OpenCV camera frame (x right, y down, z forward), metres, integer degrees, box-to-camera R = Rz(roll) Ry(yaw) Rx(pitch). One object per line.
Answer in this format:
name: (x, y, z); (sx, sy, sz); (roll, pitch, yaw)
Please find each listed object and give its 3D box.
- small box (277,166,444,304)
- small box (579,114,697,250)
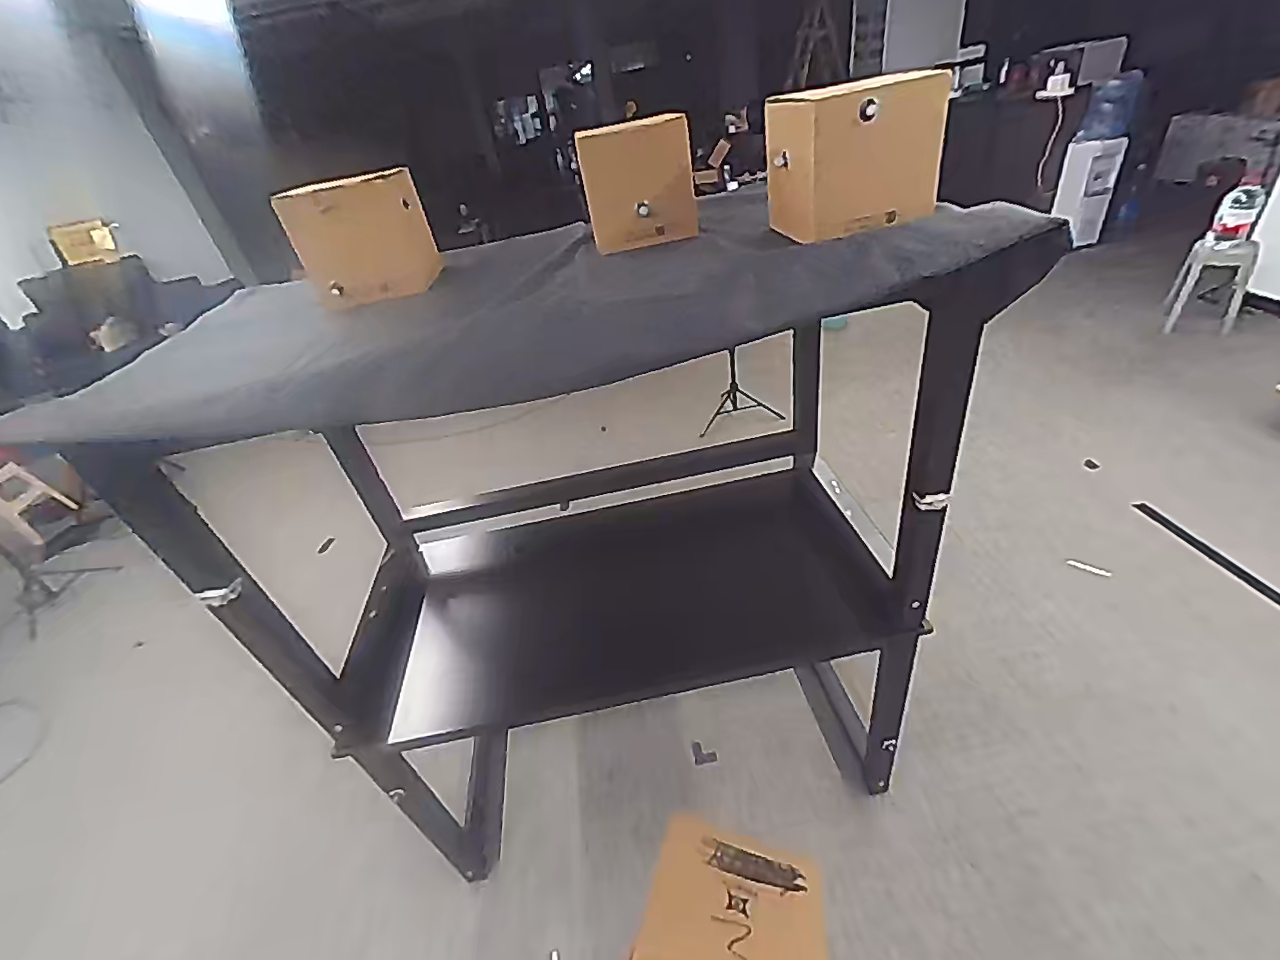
small box: (-0.443, -0.401, 0.894); (0.168, 0.176, 0.179); (-11, 34, -1)
small box: (-0.005, -0.496, 0.903); (0.168, 0.176, 0.179); (-12, 35, 0)
